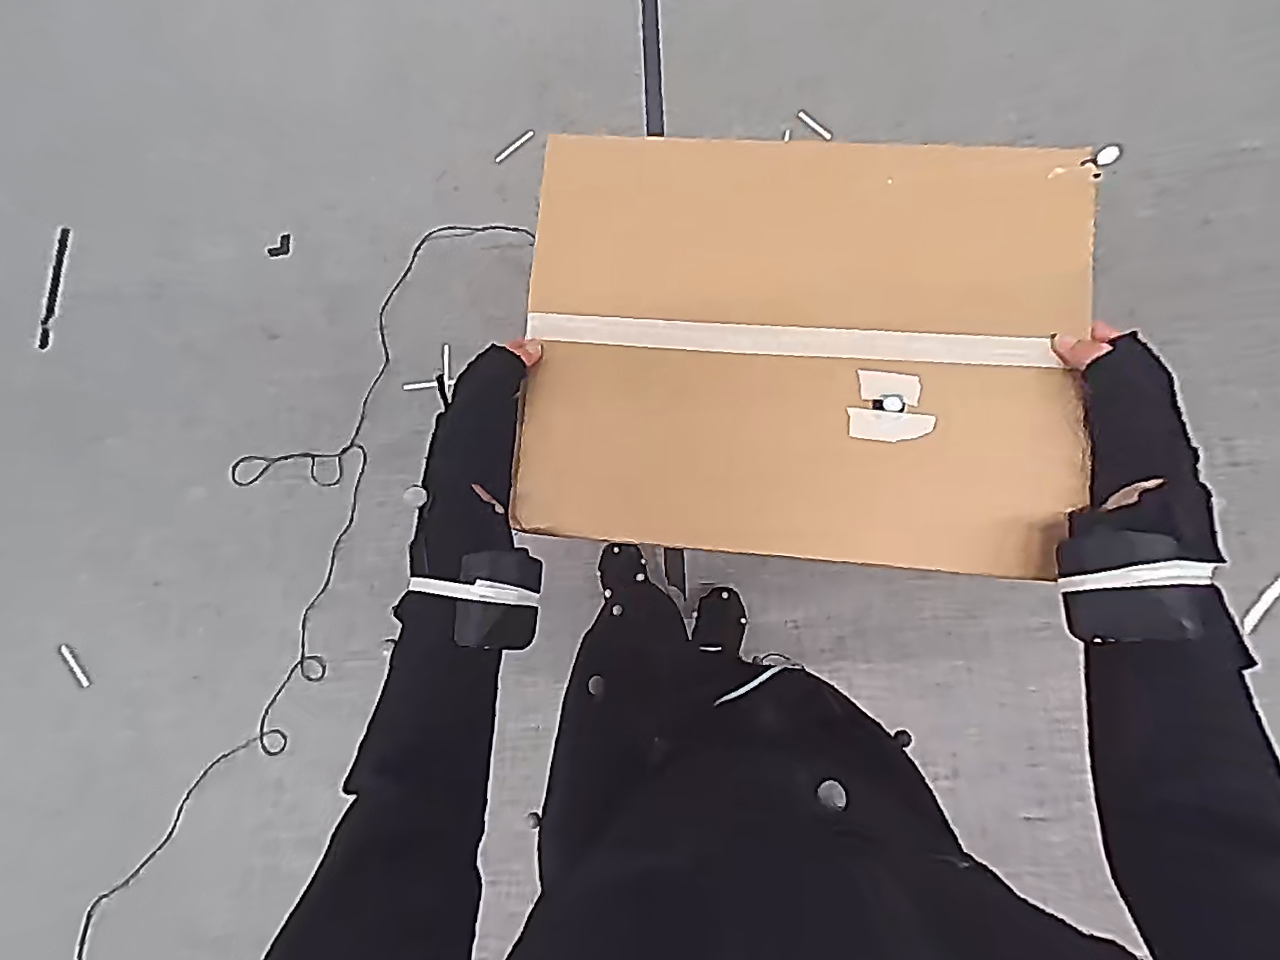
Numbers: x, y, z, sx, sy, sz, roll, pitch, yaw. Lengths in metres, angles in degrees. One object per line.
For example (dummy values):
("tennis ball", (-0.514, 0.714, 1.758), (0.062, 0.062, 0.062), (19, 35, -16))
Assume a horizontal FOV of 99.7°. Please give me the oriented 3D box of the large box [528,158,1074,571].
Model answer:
("large box", (0.127, -0.084, 0.560), (0.408, 0.320, 0.320), (4, 86, 4))
